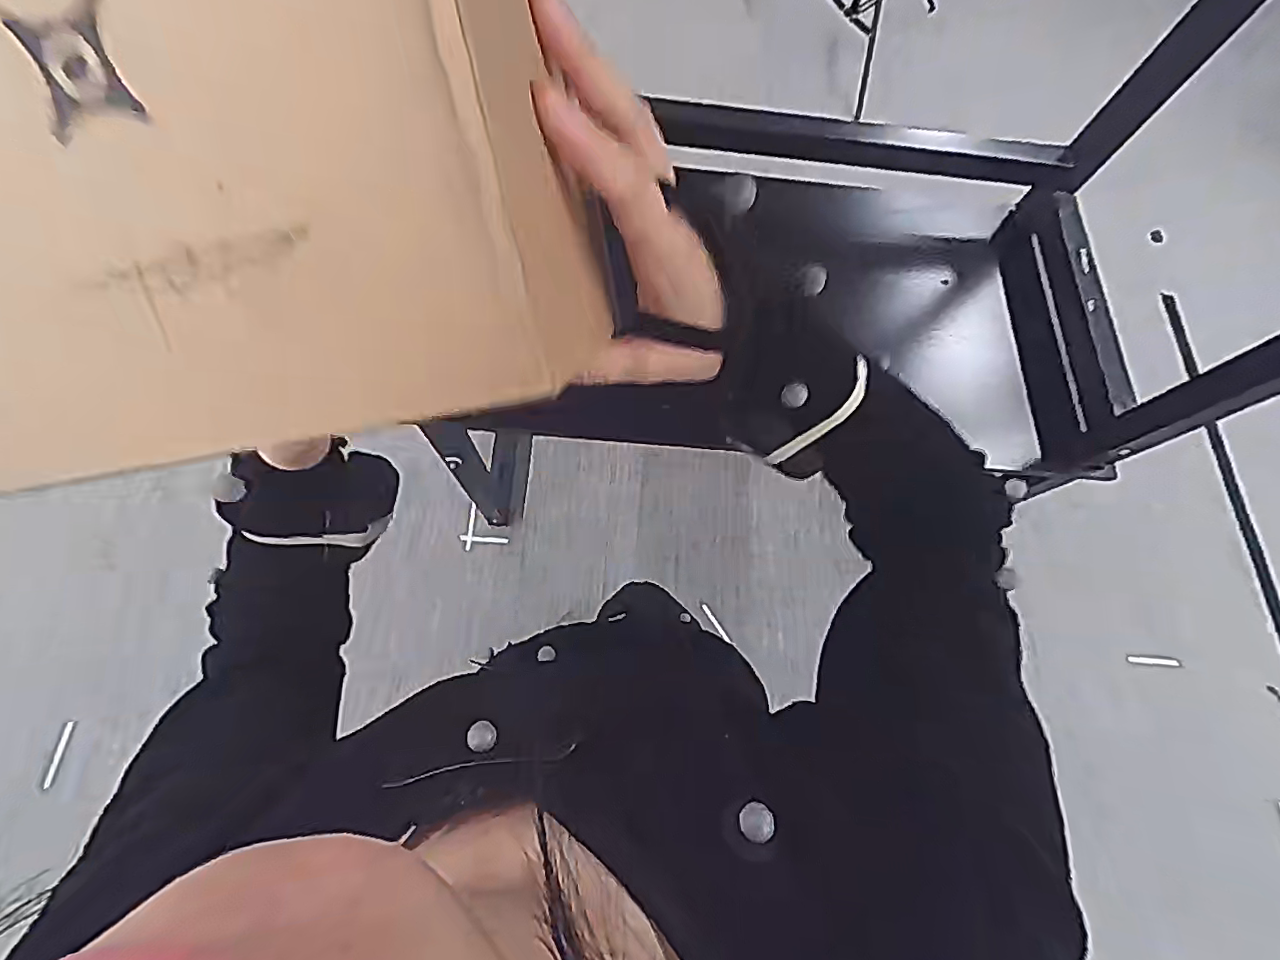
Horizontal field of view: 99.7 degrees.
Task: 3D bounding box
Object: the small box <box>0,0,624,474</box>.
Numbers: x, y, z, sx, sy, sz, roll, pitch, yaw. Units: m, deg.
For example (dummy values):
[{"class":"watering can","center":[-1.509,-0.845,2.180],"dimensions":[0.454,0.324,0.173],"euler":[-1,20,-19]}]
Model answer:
[{"class":"small box","center":[-0.106,-0.122,0.186],"dimensions":[0.168,0.176,0.179],"euler":[-10,111,8]}]
